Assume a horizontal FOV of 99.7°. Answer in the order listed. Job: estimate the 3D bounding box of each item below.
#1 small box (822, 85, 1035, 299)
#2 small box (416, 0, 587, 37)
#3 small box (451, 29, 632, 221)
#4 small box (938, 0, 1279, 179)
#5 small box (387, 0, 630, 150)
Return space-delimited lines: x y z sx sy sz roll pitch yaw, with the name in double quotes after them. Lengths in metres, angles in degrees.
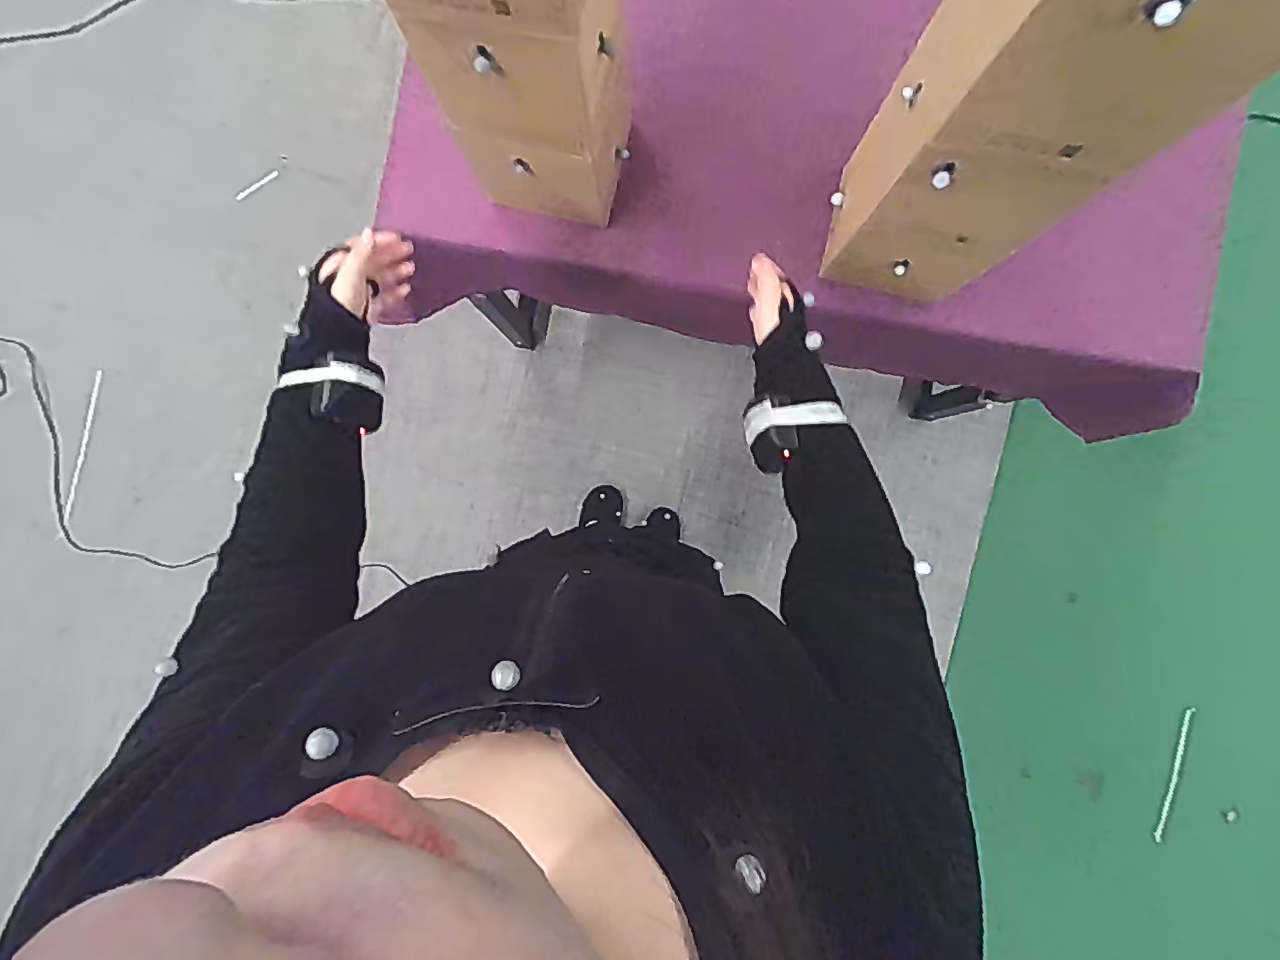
0.358 -0.350 0.692 0.179 0.176 0.168 14 89 2 "small box"
-0.114 -0.465 0.376 0.168 0.176 0.179 11 89 1 "small box"
-0.114 -0.466 0.702 0.179 0.176 0.168 14 91 1 "small box"
0.331 -0.345 0.363 0.168 0.176 0.179 11 88 2 "small box"
-0.112 -0.467 0.539 0.179 0.176 0.168 13 90 2 "small box"
